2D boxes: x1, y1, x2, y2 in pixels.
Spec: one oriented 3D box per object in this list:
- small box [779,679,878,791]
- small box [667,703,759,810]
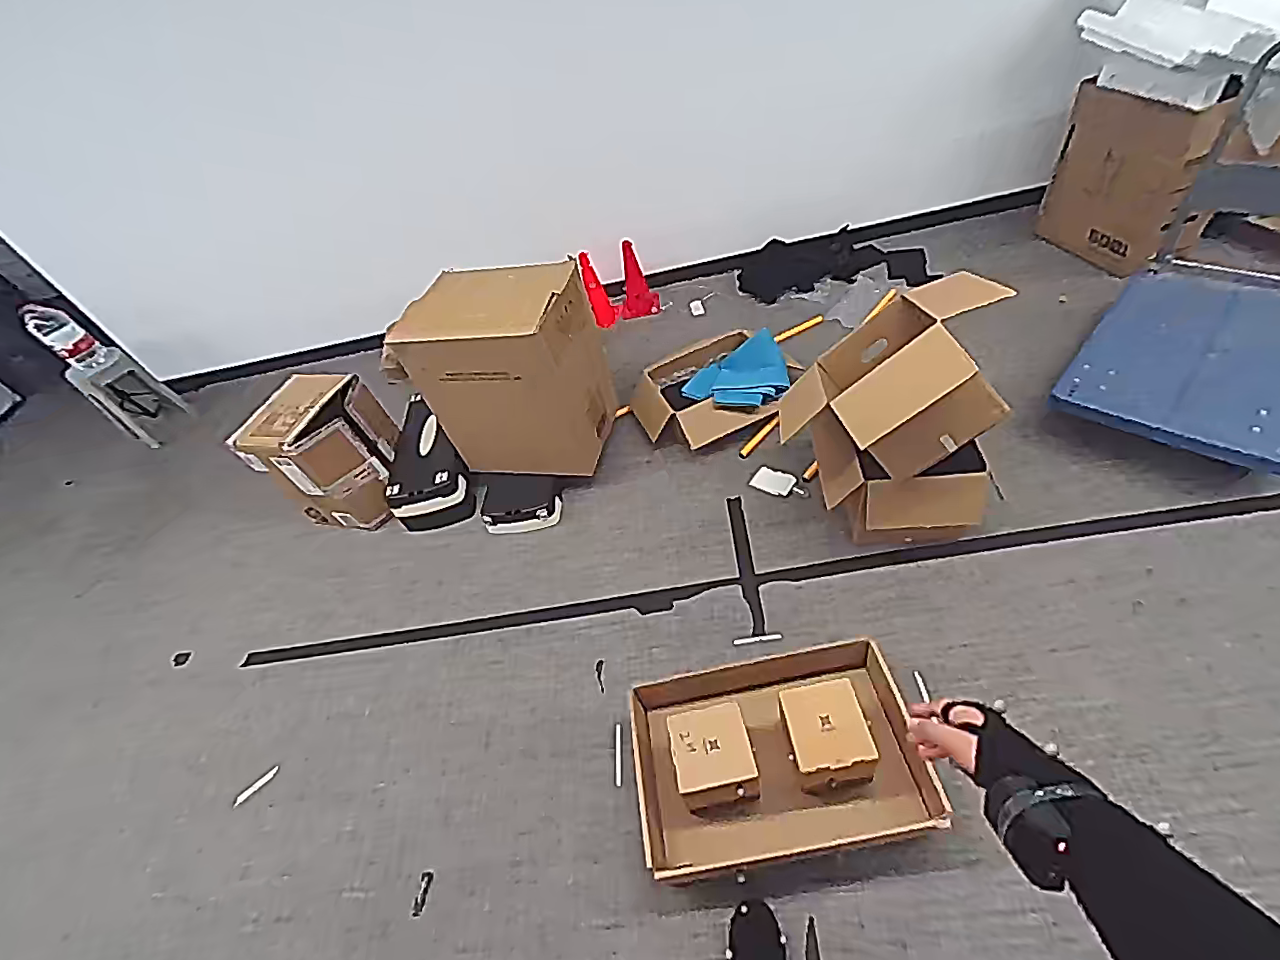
[{"bbox_3d":[0.422,0.586,1.240,0.168,0.176,0.179,-14,47,4],"label":"small box"},{"bbox_3d":[0.170,0.644,1.256,0.179,0.176,0.168,-14,46,2],"label":"small box"}]
